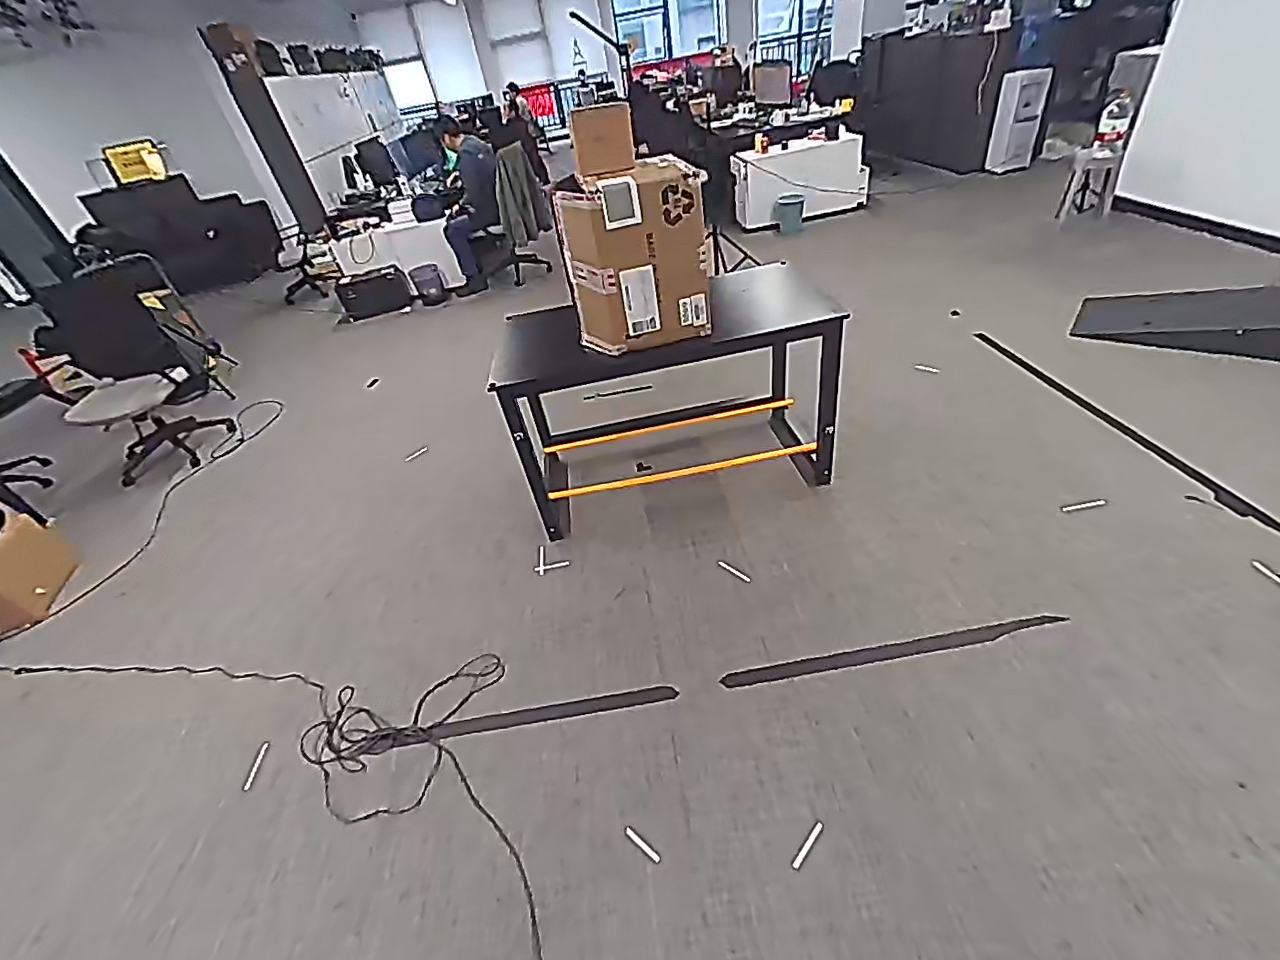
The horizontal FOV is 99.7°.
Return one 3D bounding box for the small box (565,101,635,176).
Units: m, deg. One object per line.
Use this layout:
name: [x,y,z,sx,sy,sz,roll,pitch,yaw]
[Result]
small box: [-0.125,-1.050,1.665,0.179,0.176,0.168,-13,36,-4]
